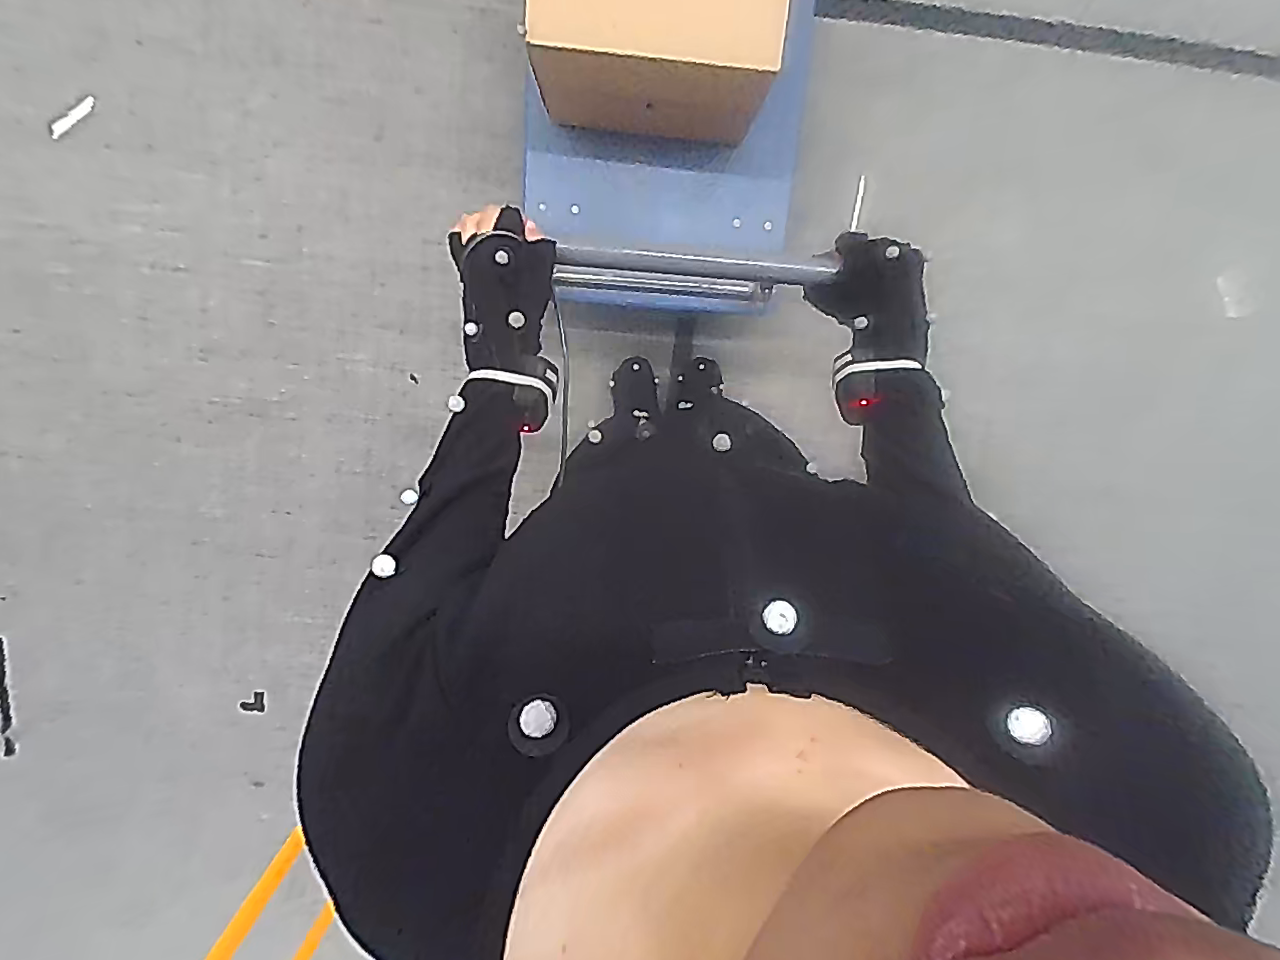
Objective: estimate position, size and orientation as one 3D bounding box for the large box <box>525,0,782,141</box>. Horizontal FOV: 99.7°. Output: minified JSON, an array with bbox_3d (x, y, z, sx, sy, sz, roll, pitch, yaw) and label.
[{"bbox_3d":[0.027,-0.841,0.965,0.408,0.320,0.320,5,103,-2],"label":"large box"}]
